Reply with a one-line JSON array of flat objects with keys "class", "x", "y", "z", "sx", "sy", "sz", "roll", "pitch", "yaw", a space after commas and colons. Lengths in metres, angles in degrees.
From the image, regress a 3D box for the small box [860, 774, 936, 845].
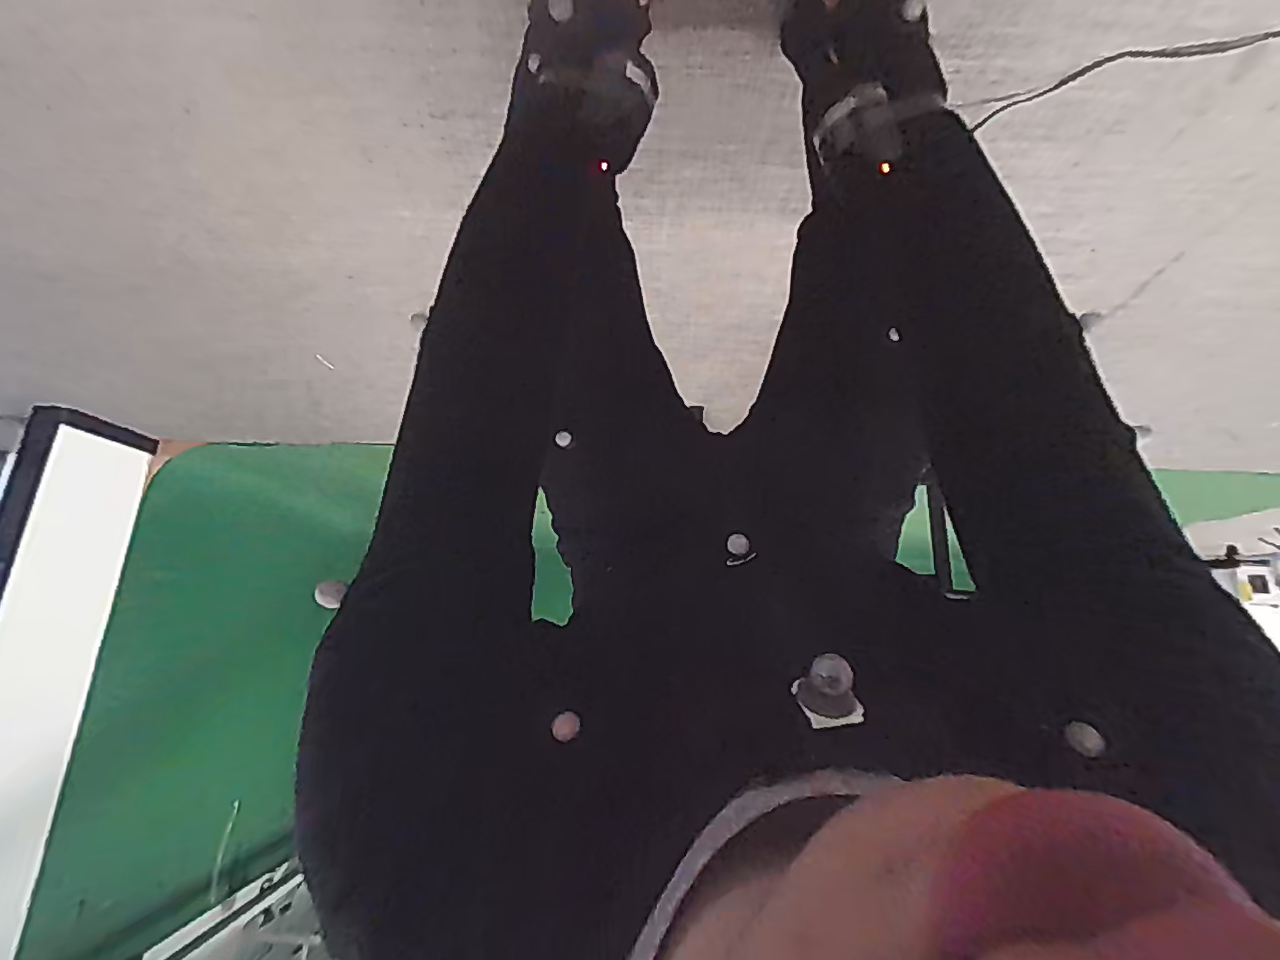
[{"class": "small box", "x": 0.872, "y": 1.114, "z": 1.843, "sx": 0.179, "sy": 0.176, "sz": 0.168, "roll": 1, "pitch": 166, "yaw": -2}]
